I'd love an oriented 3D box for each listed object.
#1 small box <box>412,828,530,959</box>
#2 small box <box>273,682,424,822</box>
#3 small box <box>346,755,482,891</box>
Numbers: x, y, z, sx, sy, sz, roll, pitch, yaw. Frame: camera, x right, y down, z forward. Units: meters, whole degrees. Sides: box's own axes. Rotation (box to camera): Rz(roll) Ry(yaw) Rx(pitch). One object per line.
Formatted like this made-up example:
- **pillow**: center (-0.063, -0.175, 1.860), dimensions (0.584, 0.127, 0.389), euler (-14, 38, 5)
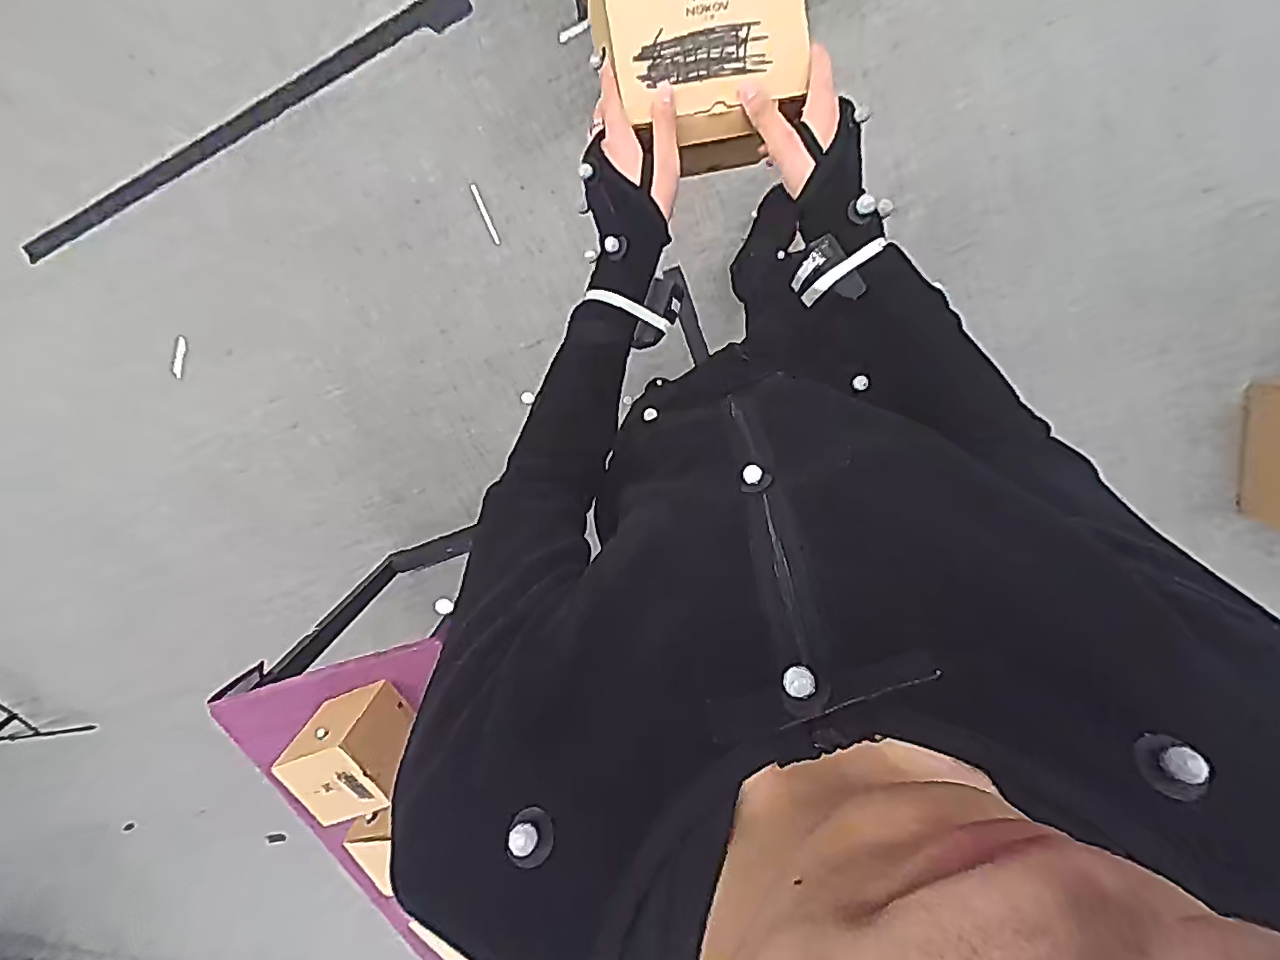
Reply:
- **small box**: center (-0.369, 0.933, 1.226), dimensions (0.179, 0.176, 0.168), euler (-28, 106, 15)
- **small box**: center (-0.562, 0.534, 1.078), dimensions (0.179, 0.176, 0.168), euler (-24, 108, 15)
- **small box**: center (-0.467, 0.721, 1.146), dimensions (0.179, 0.176, 0.168), euler (-18, 109, 12)
